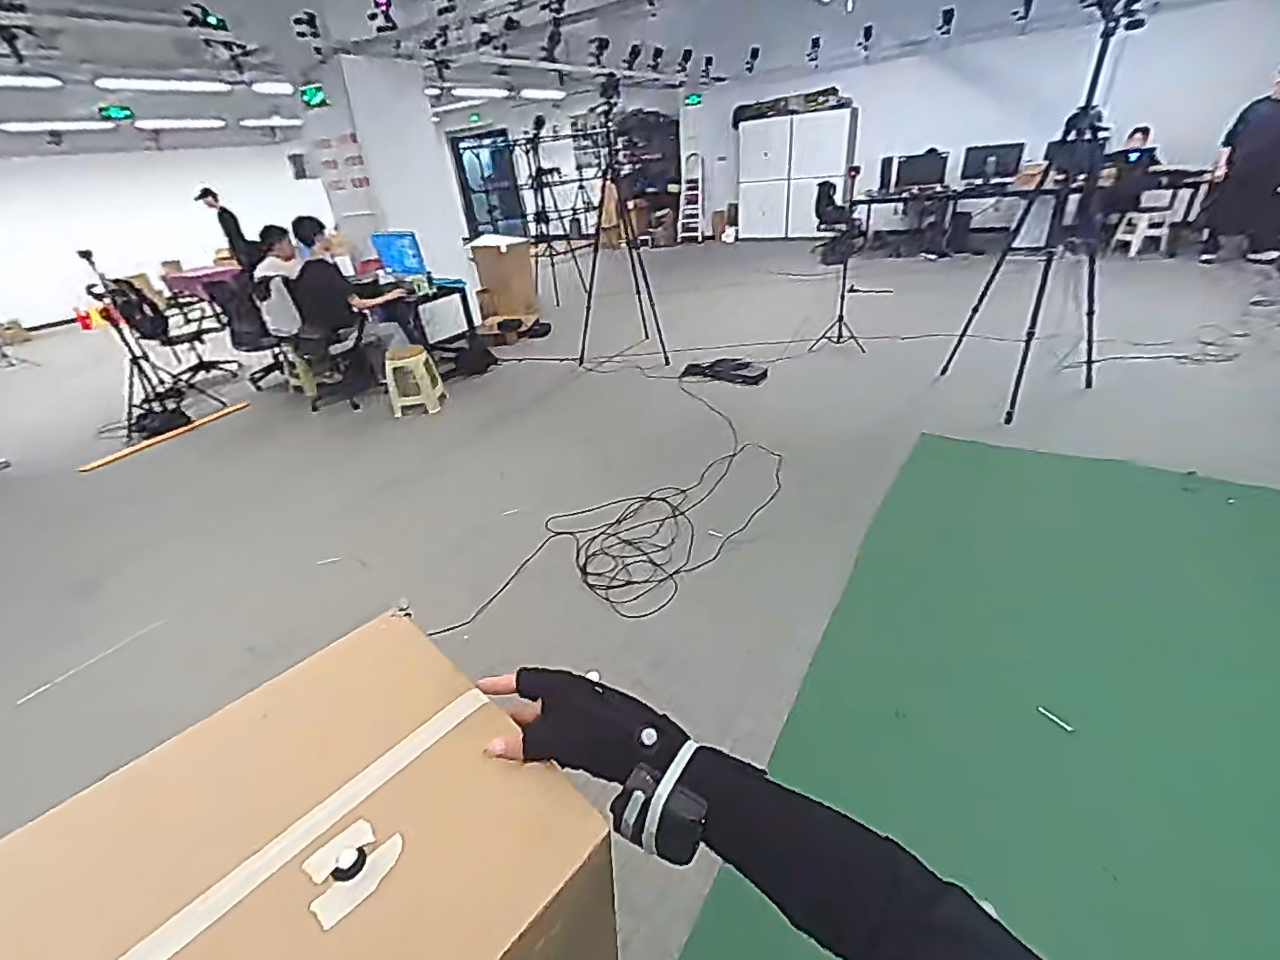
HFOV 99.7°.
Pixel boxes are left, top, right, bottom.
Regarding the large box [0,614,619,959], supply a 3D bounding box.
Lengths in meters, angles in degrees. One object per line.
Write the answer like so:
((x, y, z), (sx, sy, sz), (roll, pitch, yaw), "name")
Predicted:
((-0.263, 0.404, 0.453), (0.320, 0.320, 0.408), (27, 43, 33), "large box")
